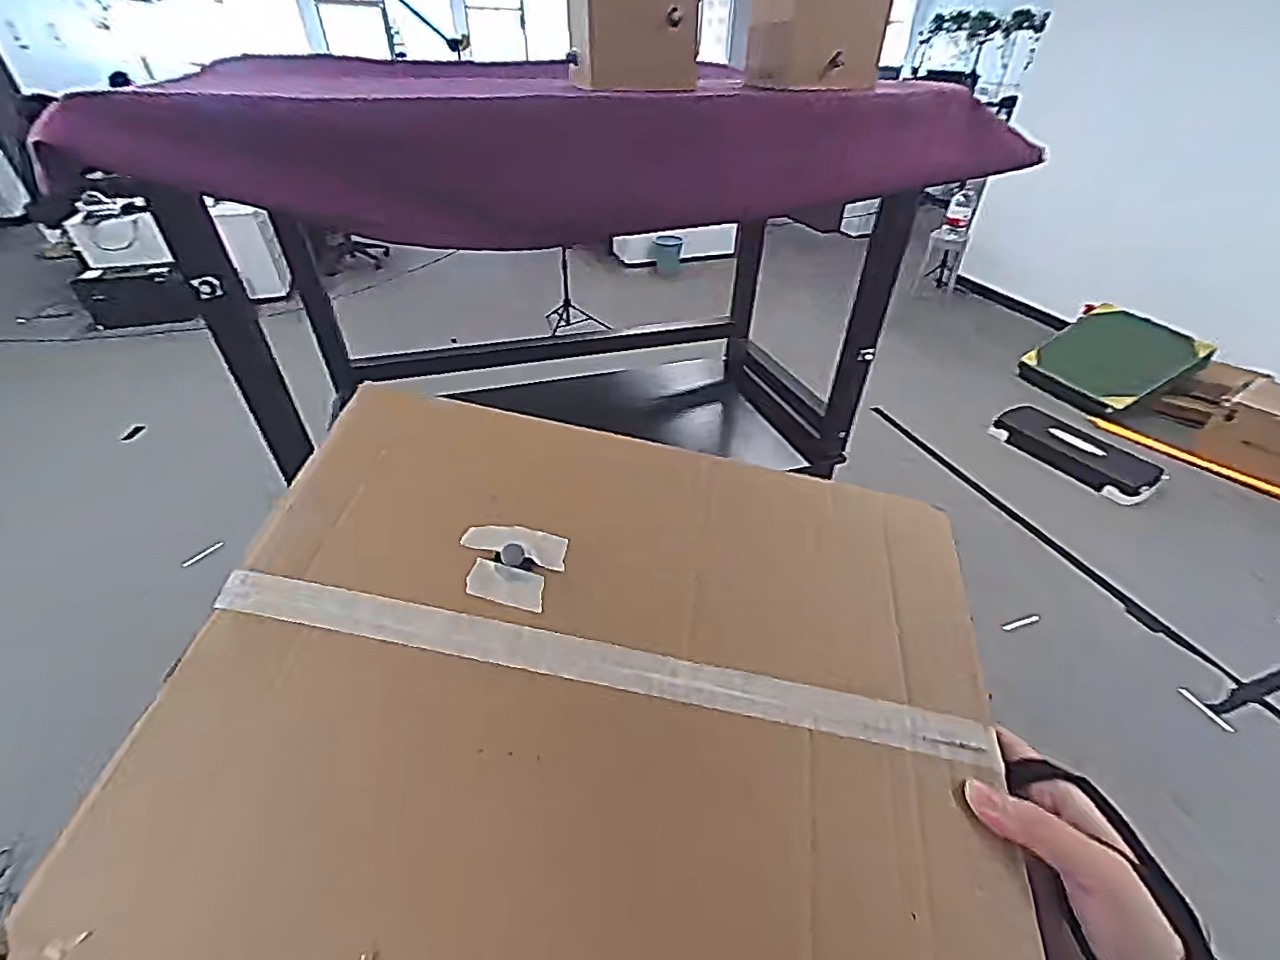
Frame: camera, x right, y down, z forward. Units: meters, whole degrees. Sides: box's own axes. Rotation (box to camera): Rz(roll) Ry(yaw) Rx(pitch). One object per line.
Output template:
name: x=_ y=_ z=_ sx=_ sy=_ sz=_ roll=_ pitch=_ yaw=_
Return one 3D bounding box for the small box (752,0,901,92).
small box: x=0.307 y=-0.759 z=0.902 sx=0.179 sy=0.176 sz=0.168 roll=-10 pitch=39 yaw=-13

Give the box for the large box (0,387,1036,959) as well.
large box: x=-0.032 y=0.178 z=0.395 sx=0.408 sy=0.320 sz=0.320 roll=11 pitch=53 yaw=0

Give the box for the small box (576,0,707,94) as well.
small box: x=-0.002 y=-0.715 z=0.847 sx=0.179 sy=0.176 sz=0.168 roll=-10 pitch=39 yaw=-13
